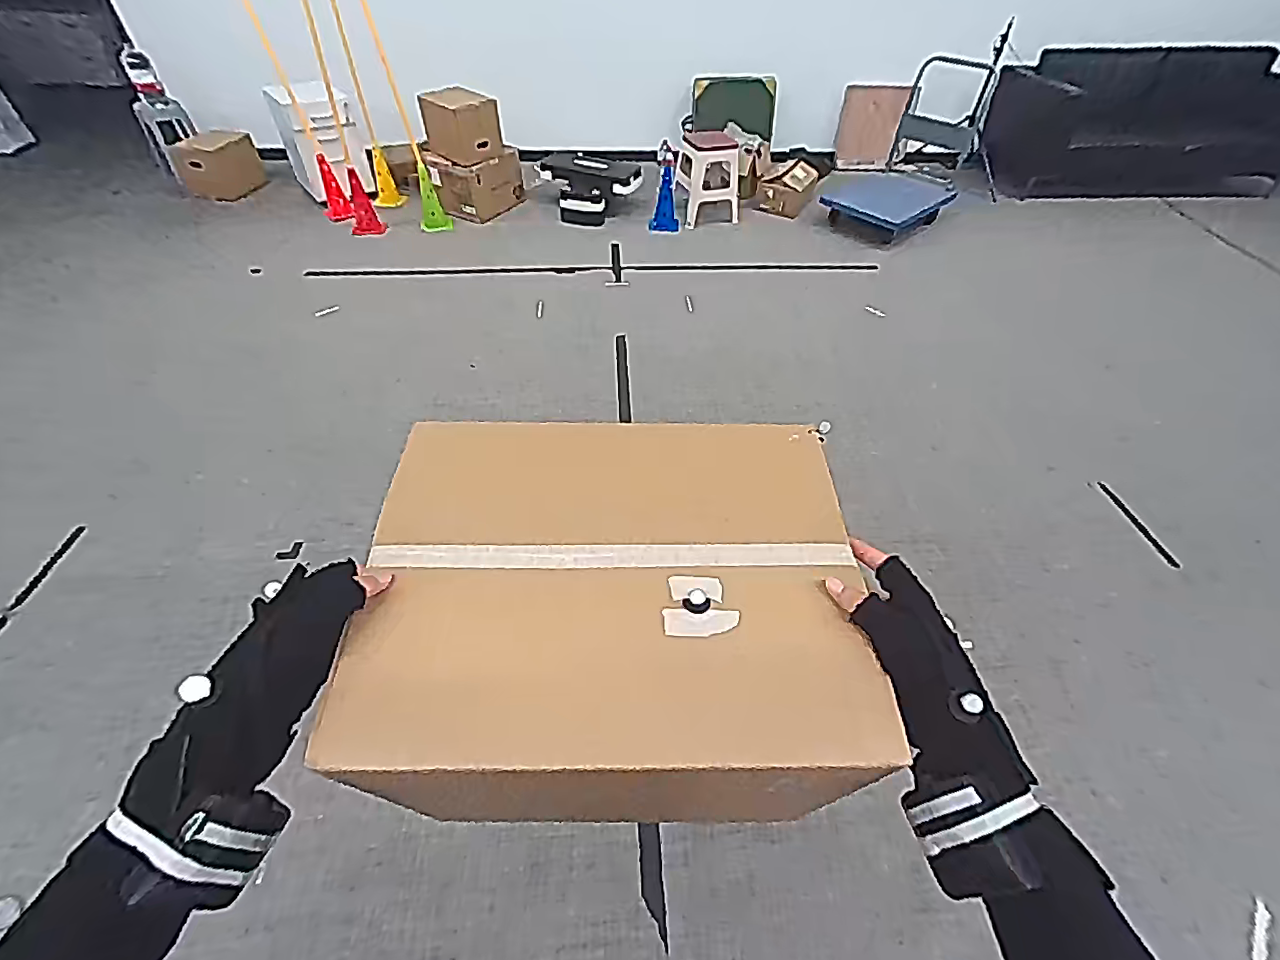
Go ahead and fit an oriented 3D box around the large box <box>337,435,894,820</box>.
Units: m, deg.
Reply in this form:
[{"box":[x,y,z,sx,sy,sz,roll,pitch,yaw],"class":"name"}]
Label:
[{"box":[-0.022,0.165,0.587,0.408,0.320,0.320,1,52,-1],"class":"large box"}]
